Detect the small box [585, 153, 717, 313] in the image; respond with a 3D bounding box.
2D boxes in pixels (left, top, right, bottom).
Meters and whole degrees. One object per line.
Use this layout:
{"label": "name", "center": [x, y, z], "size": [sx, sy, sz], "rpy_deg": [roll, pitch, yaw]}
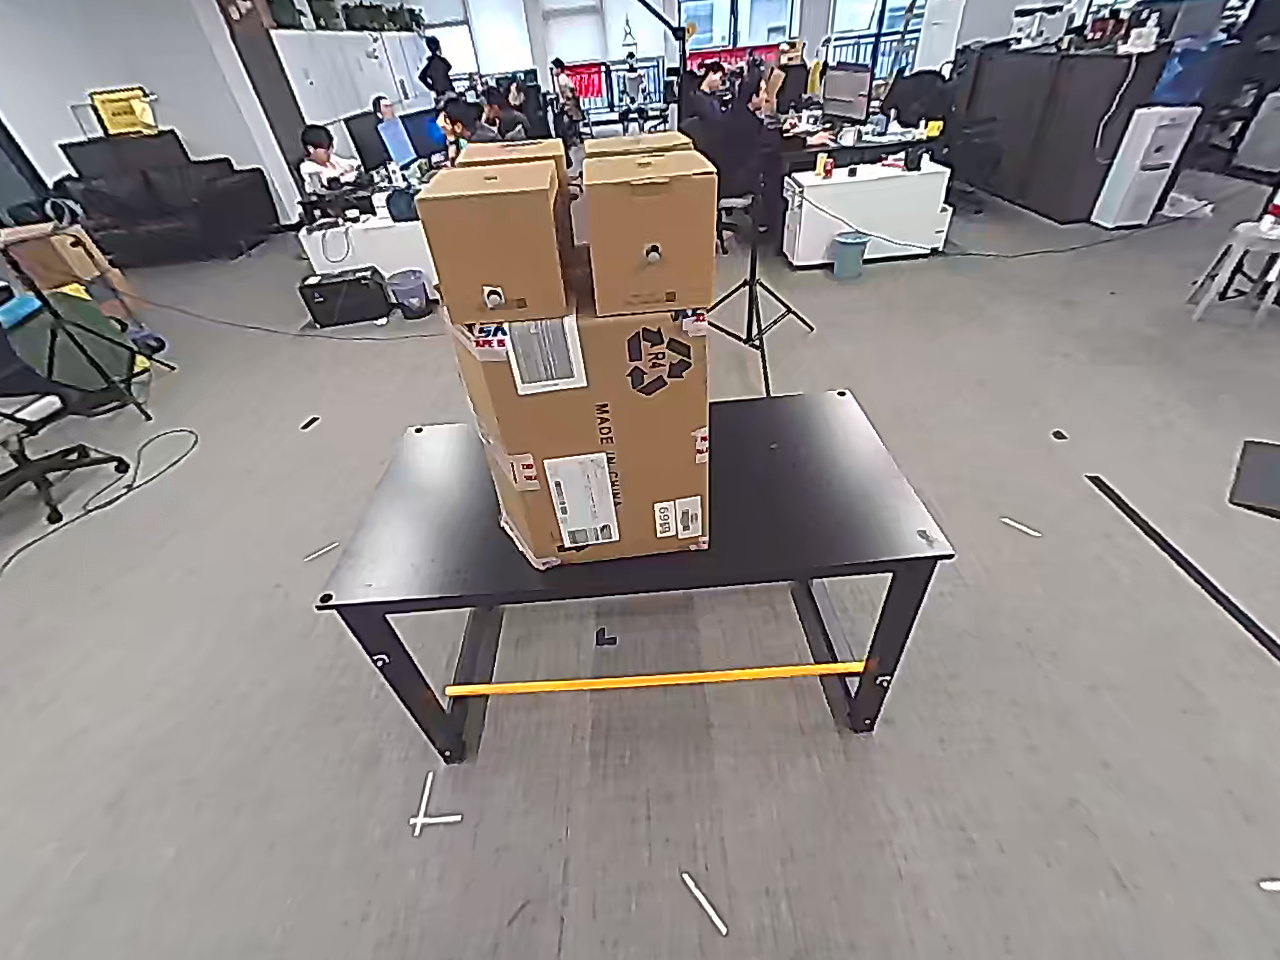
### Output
{"label": "small box", "center": [0.013, -0.346, 0.766], "size": [0.168, 0.176, 0.179], "rpy_deg": [-4, 40, -2]}
